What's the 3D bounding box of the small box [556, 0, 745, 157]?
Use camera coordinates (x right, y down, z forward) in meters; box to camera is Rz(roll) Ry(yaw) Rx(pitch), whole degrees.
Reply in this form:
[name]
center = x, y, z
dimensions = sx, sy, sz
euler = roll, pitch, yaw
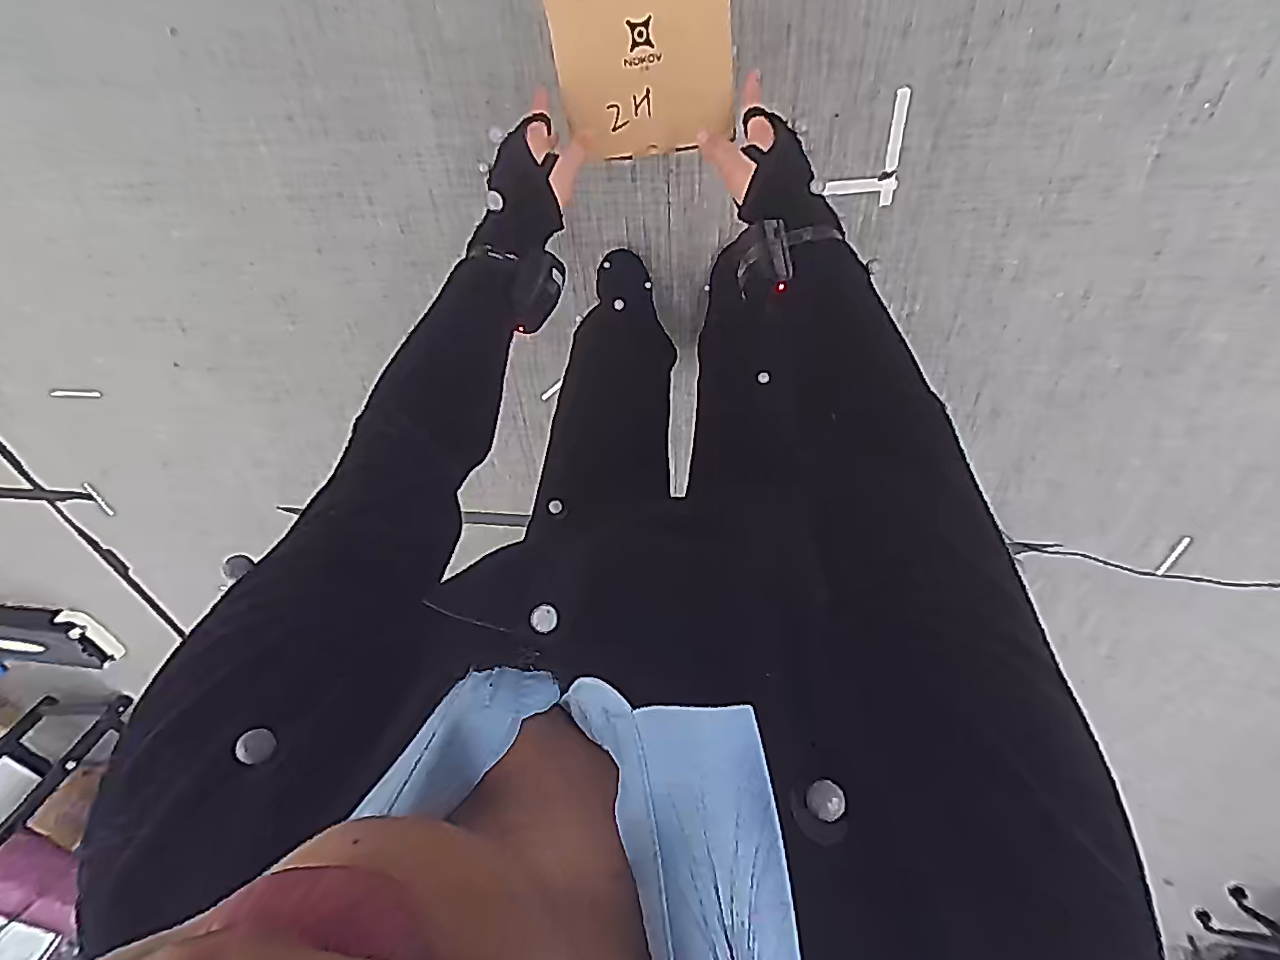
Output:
[small box]
center = 0.018, -0.449, 0.547
dimensions = 0.168, 0.176, 0.179
euler = -2, 129, 10
